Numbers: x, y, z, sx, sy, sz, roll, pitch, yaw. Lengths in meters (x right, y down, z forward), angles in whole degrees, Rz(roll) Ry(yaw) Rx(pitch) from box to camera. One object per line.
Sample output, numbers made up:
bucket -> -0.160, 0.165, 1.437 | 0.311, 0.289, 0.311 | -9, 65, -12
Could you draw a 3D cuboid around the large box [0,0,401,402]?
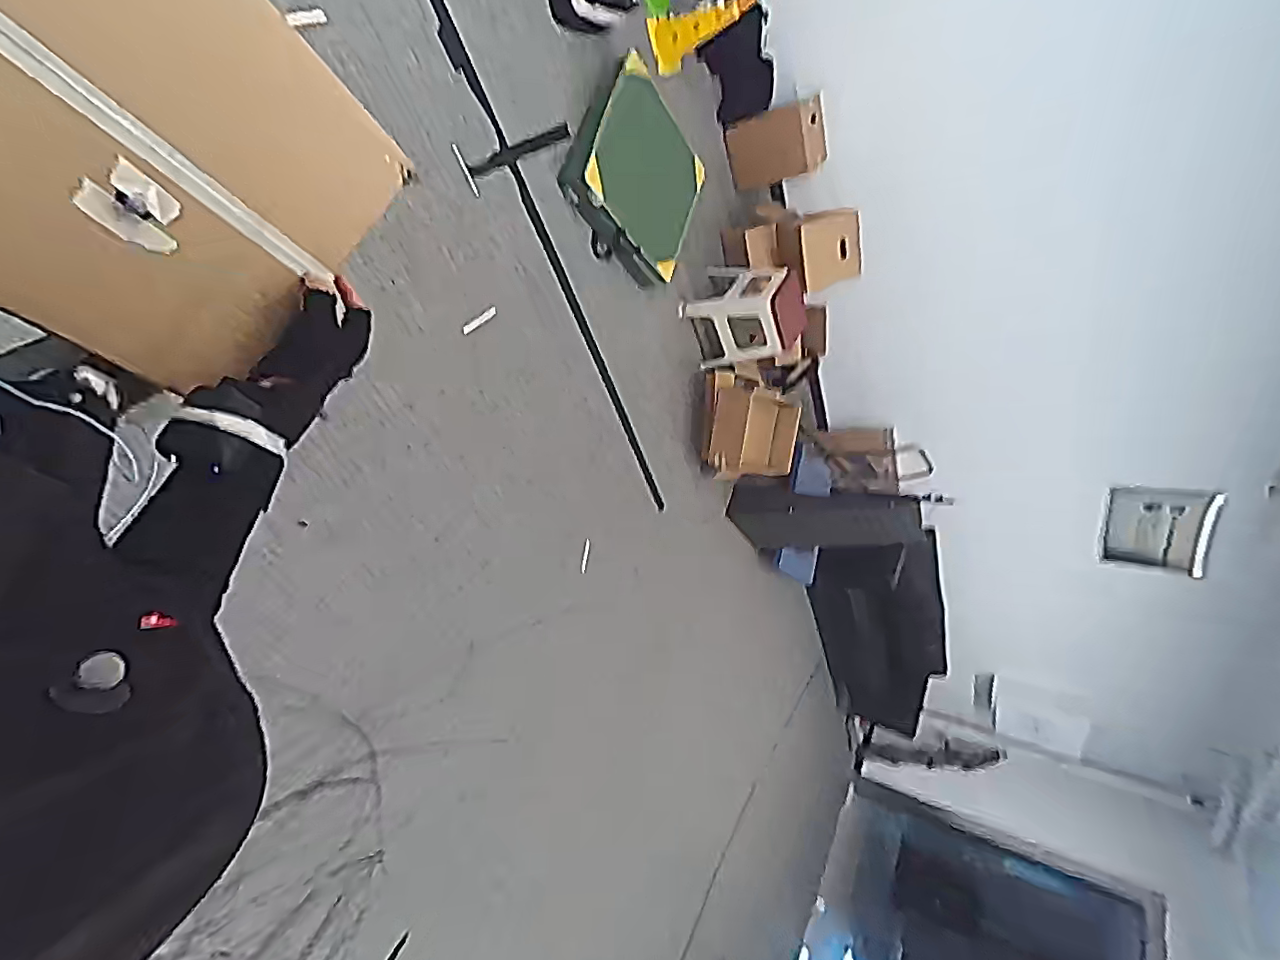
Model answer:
large box -> -0.521, -0.324, 0.465 | 0.320, 0.320, 0.408 | -61, 144, -10
